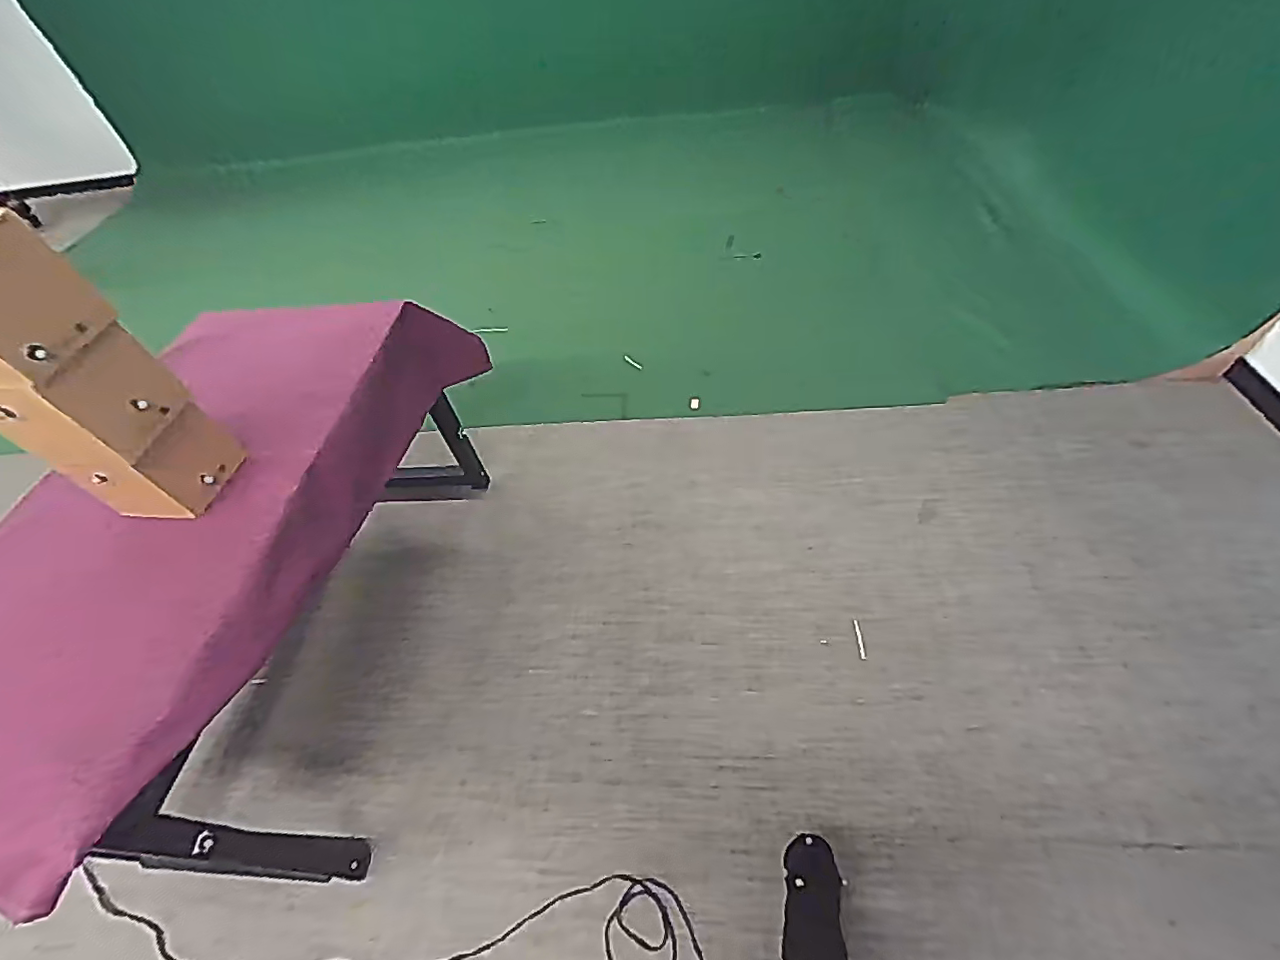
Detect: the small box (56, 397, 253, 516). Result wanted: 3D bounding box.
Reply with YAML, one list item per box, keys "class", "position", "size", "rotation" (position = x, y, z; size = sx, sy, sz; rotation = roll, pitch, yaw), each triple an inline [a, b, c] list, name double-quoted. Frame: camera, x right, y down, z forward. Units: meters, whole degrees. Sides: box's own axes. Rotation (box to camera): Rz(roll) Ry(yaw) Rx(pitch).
- class: "small box"
  position: [-0.897, -0.045, 1.019]
  size: [0.179, 0.176, 0.168]
  rotation: [2, 52, 10]

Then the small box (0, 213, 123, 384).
- class: "small box"
  position: [-0.911, -0.249, 0.761]
  size: [0.179, 0.176, 0.168]
  rotation: [1, 52, 10]

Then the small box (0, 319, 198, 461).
- class: "small box"
  position: [-0.901, -0.144, 0.887]
  size: [0.179, 0.176, 0.168]
  rotation: [1, 53, 9]
